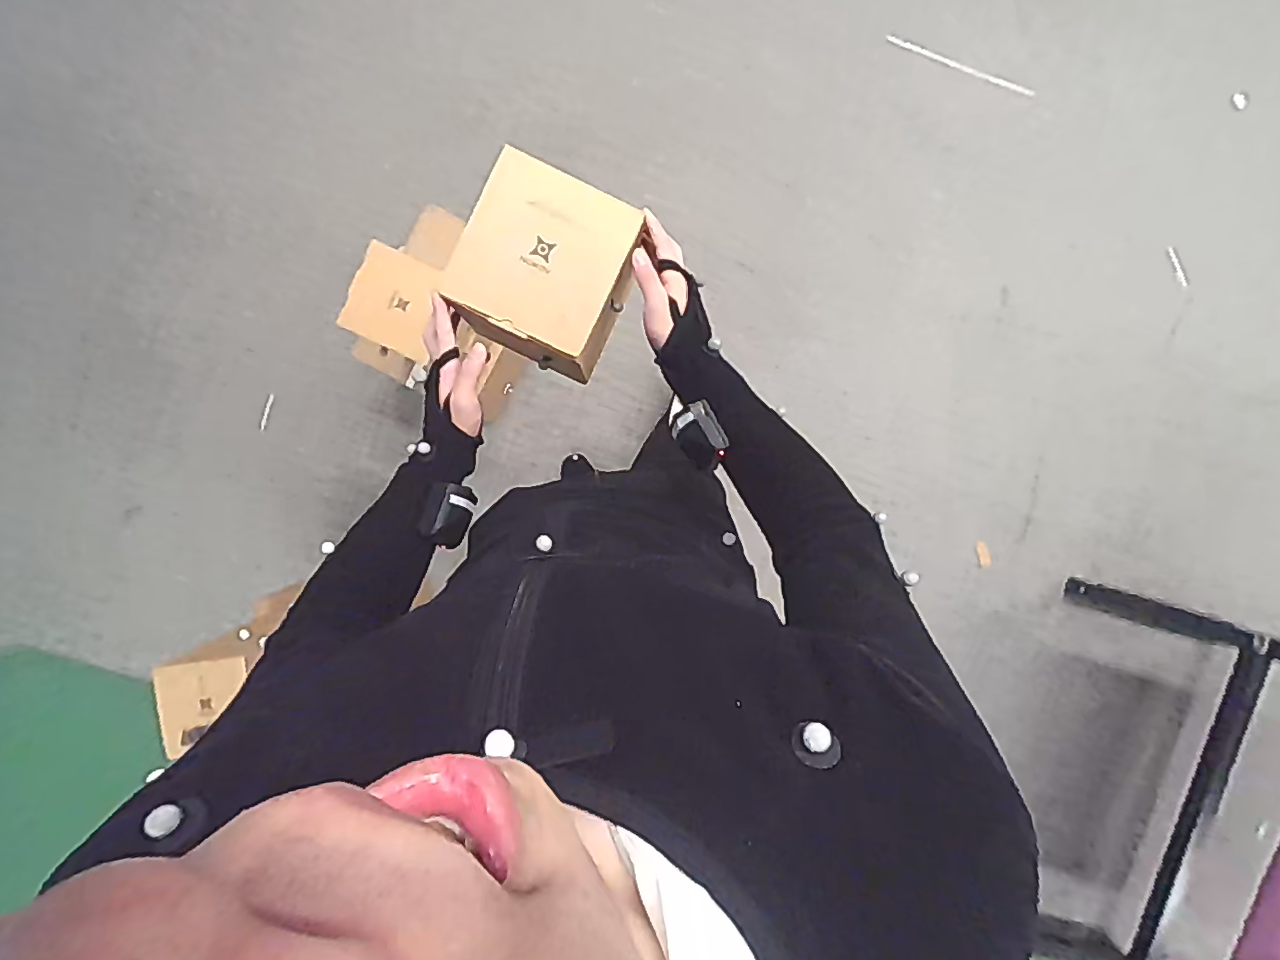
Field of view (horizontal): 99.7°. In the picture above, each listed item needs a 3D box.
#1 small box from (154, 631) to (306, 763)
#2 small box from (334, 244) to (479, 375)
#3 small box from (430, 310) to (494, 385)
[{"bbox_3d":[-0.786,0.416,1.057,0.168,0.176,0.179,-7,94,-2],"label":"small box"},{"bbox_3d":[-0.431,-0.312,1.033,0.179,0.176,0.168,24,92,-4],"label":"small box"},{"bbox_3d":[-0.444,-0.320,1.196,0.179,0.176,0.168,25,91,-6],"label":"small box"}]
